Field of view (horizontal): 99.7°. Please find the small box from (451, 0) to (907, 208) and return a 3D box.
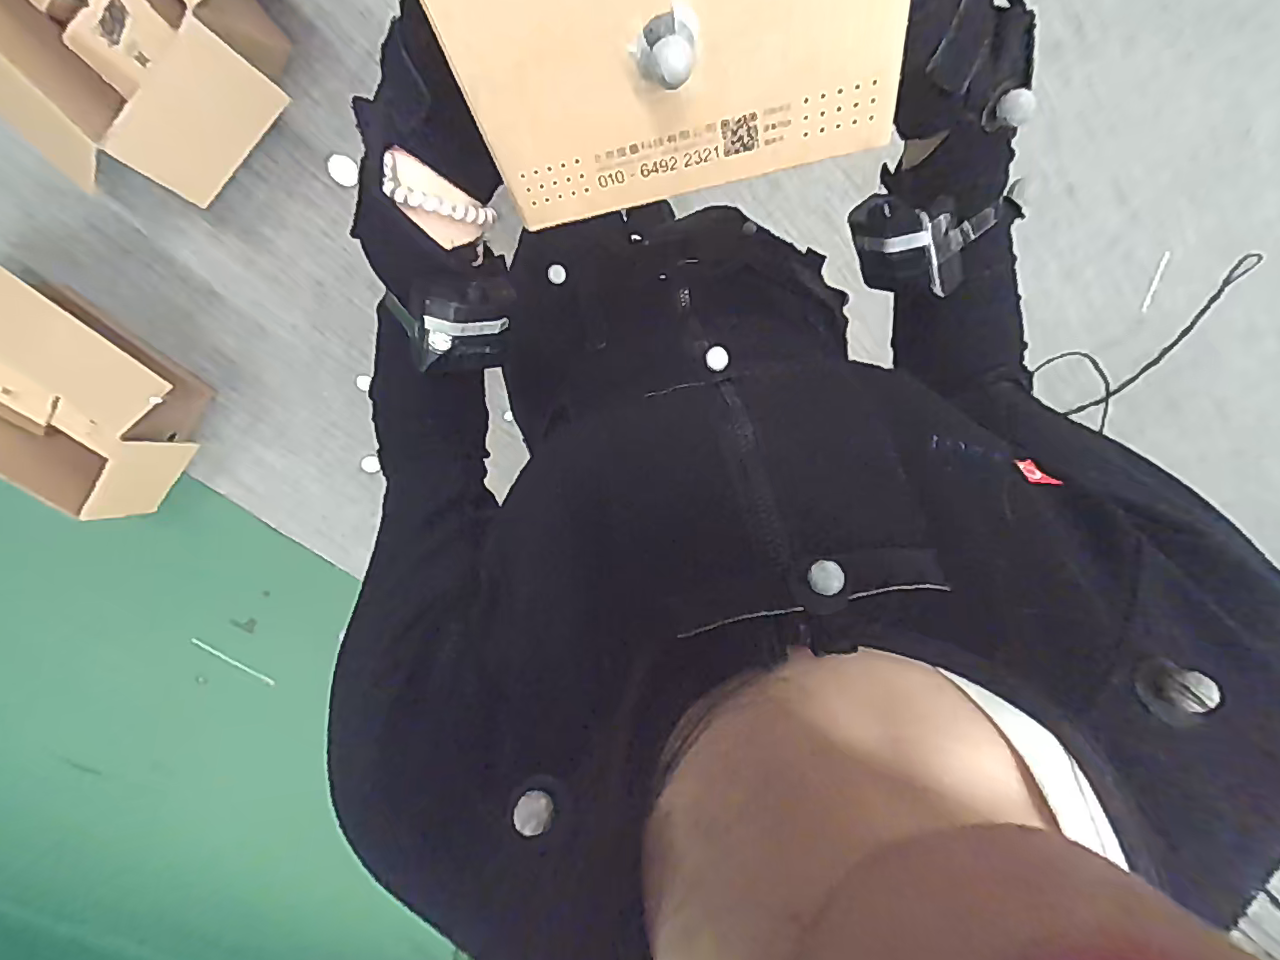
[{"bbox_3d":[0.008,-0.247,0.219,0.168,0.179,0.176,-7,148,12],"label":"small box"}]
